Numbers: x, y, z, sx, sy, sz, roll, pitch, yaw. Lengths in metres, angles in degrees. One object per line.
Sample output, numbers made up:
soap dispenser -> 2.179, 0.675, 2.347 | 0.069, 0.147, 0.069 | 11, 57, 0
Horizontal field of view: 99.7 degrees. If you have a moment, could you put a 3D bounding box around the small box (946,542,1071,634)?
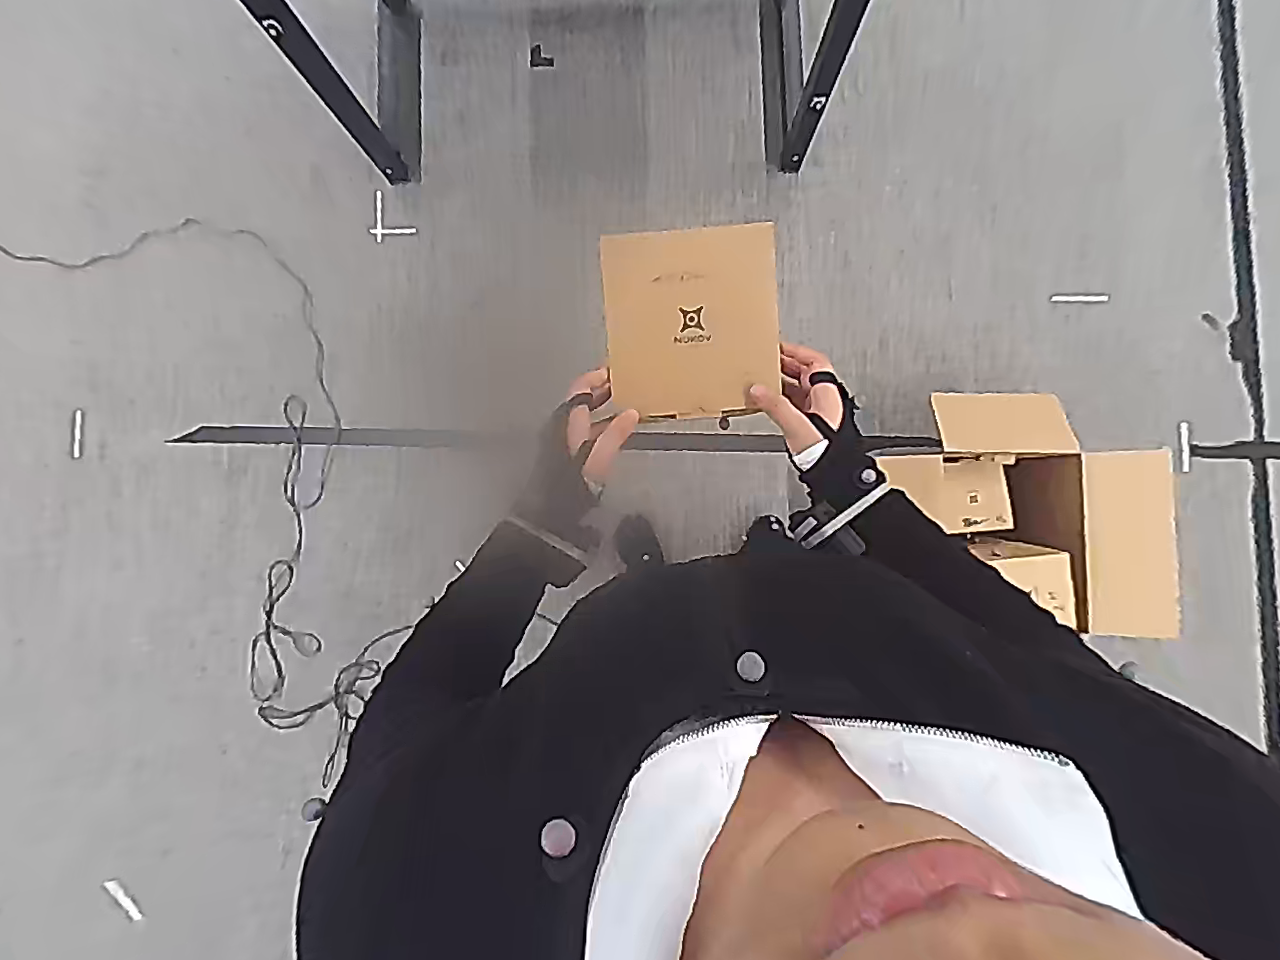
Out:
small box -> 0.815, 0.236, 1.217 | 0.179, 0.176, 0.168 | -6, 91, 2

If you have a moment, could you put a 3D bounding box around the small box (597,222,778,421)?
small box -> 0.046, -0.156, 0.591 | 0.168, 0.176, 0.179 | -5, 94, 0
